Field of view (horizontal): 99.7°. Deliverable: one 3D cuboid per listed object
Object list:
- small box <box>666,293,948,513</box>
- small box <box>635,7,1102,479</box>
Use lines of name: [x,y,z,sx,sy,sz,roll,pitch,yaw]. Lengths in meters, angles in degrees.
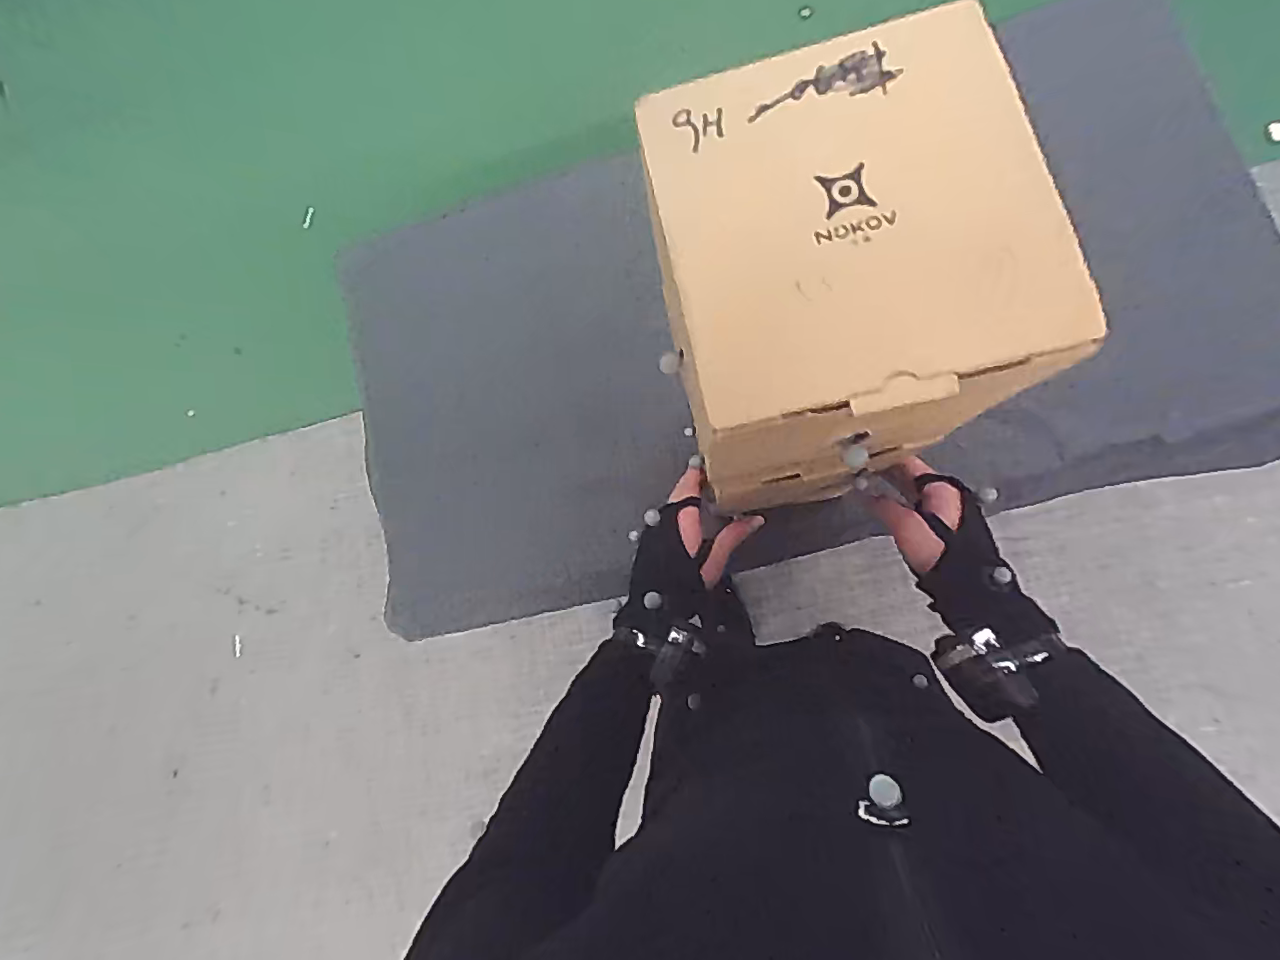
small box: [0.130,-0.073,0.477,0.168,0.176,0.179,-16,78,6]
small box: [0.104,-0.102,0.318,0.168,0.176,0.179,-13,81,6]
